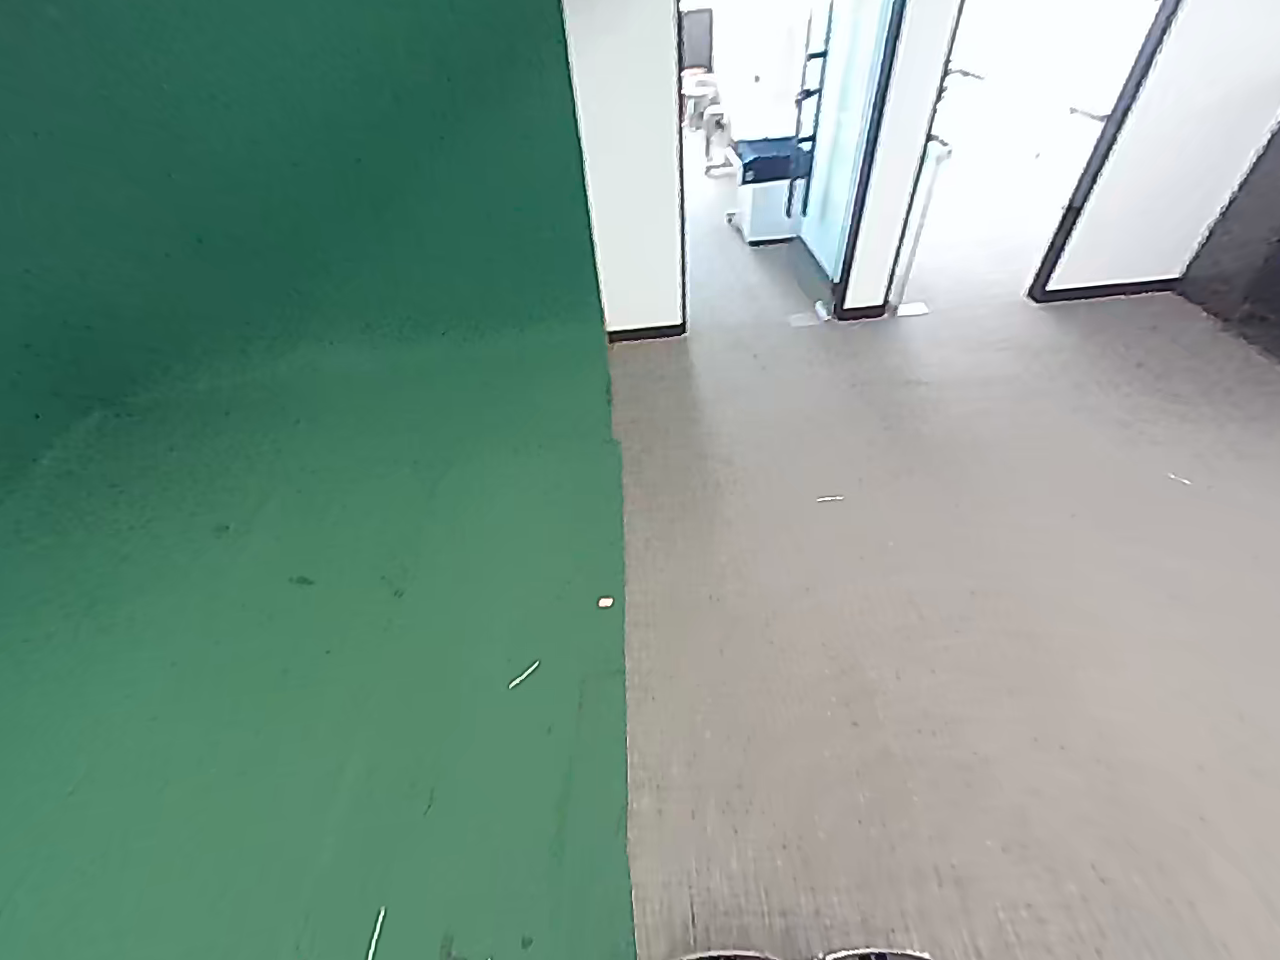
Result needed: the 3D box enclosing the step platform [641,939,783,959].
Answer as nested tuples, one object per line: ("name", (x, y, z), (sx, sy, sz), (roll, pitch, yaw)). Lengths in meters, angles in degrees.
("step platform", (0.147, 1.150, 0.819), (0.286, 0.204, 0.684), (-4, 46, 0))
